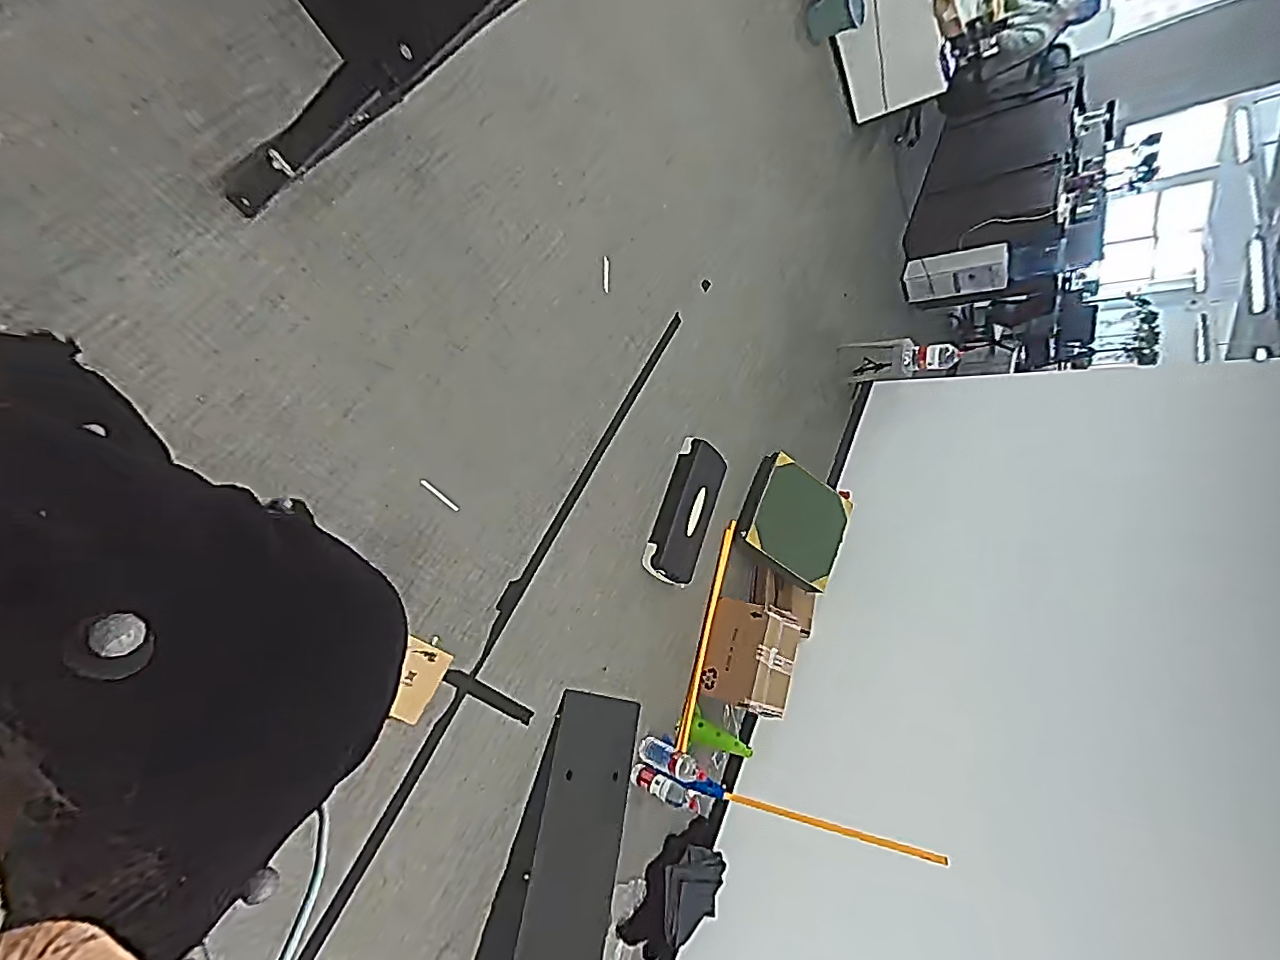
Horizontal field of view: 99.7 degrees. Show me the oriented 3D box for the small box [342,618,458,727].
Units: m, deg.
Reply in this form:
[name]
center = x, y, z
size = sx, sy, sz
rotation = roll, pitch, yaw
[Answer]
[small box]
center = -0.587, 0.461, 1.310
size = 0.168, 0.176, 0.179
rotation = 48, 59, -40
